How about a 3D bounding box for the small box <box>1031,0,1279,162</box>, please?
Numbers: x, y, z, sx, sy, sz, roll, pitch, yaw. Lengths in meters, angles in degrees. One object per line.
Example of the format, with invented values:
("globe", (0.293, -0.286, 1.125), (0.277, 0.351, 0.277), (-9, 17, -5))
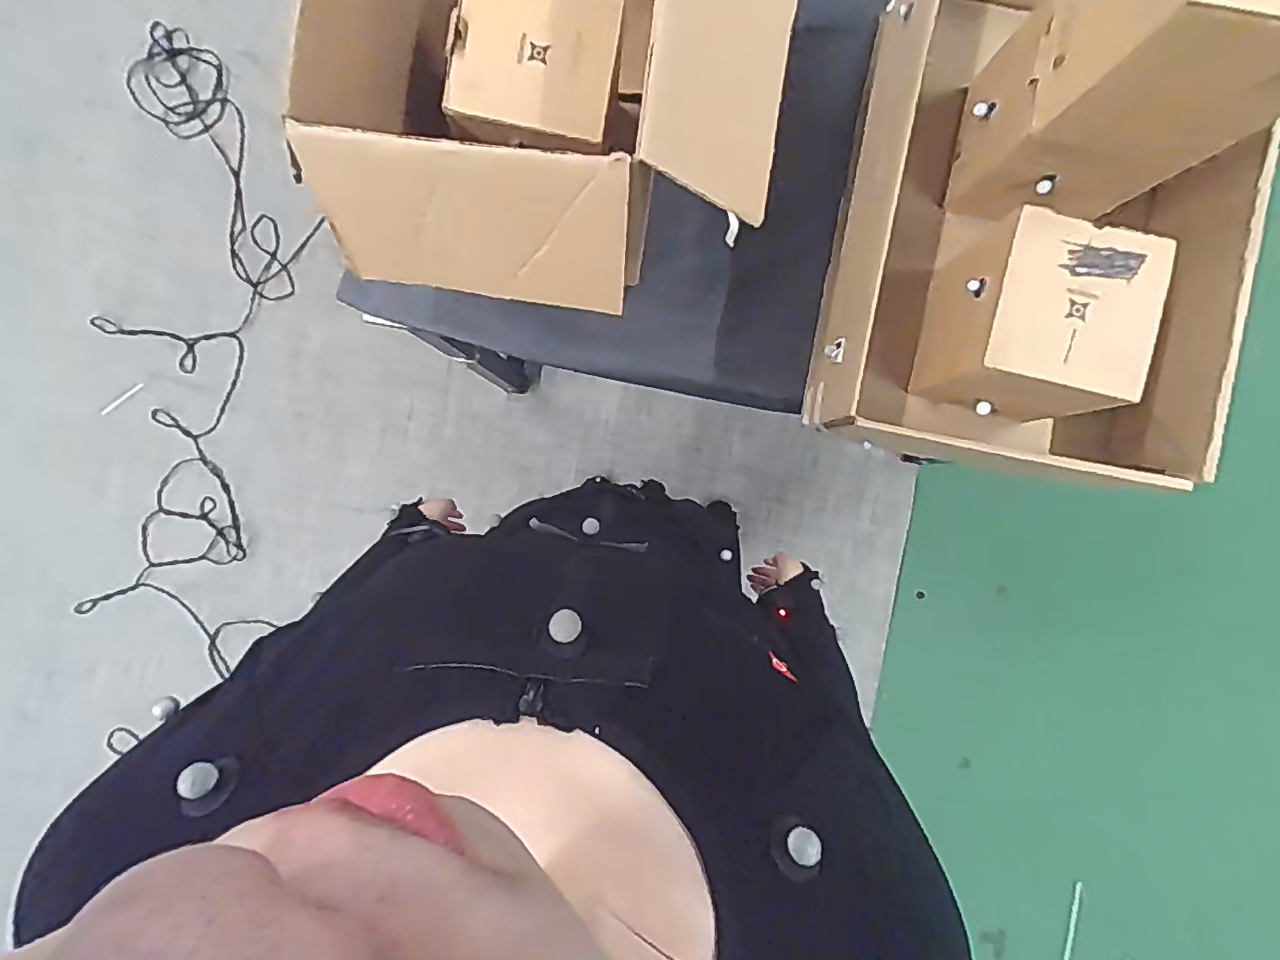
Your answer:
("small box", (0.495, -0.415, 0.477), (0.179, 0.176, 0.168), (10, 92, 0))
